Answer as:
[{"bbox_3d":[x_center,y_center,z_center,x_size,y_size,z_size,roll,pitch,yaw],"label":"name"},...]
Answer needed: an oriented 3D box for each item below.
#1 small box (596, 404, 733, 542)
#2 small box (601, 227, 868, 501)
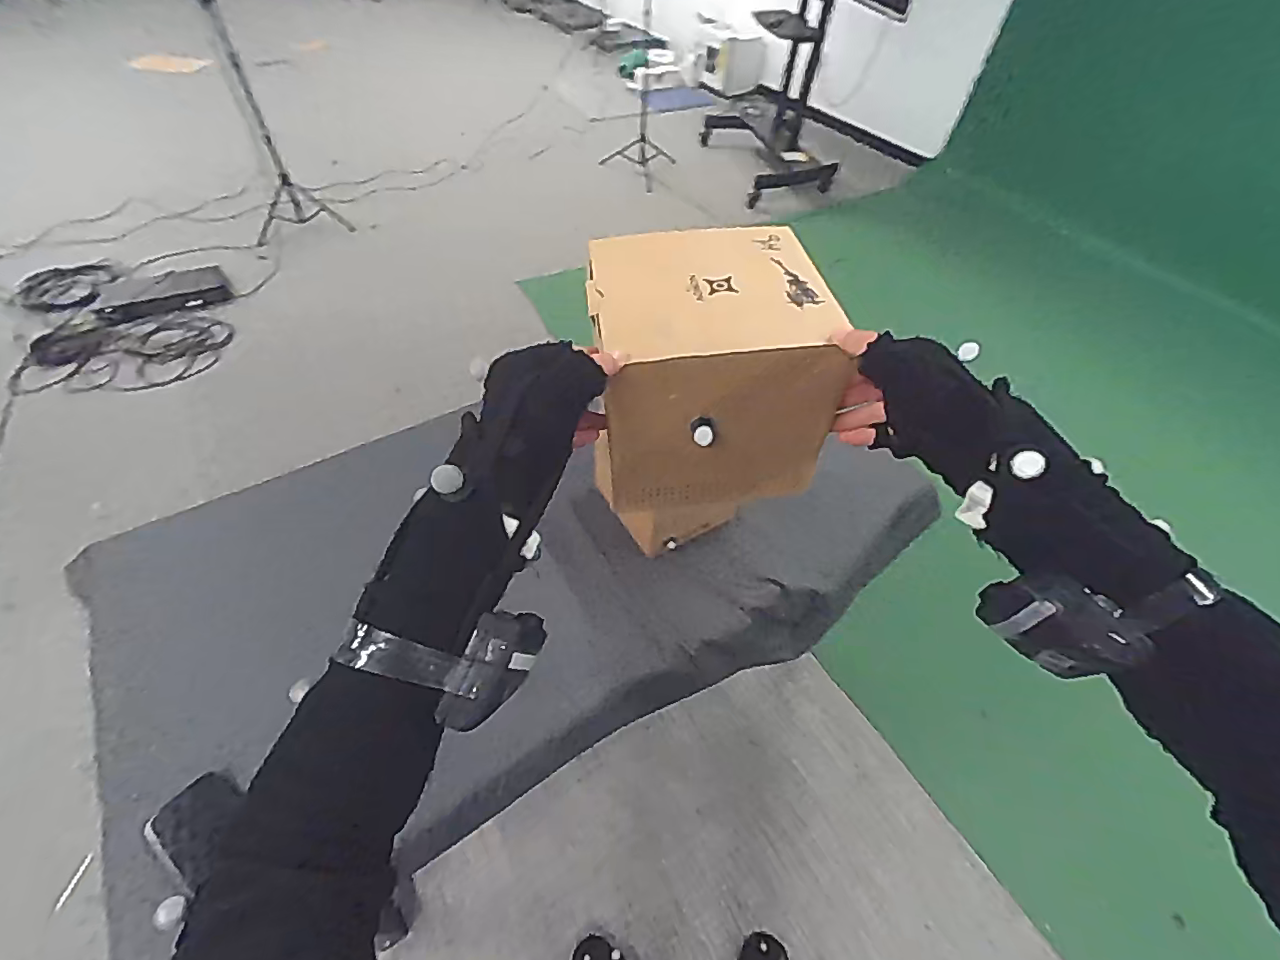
[{"bbox_3d":[0.044,-0.024,0.852,0.168,0.176,0.179,-24,56,-22],"label":"small box"},{"bbox_3d":[0.064,-0.095,0.473,0.179,0.176,0.168,-6,52,-4],"label":"small box"}]
